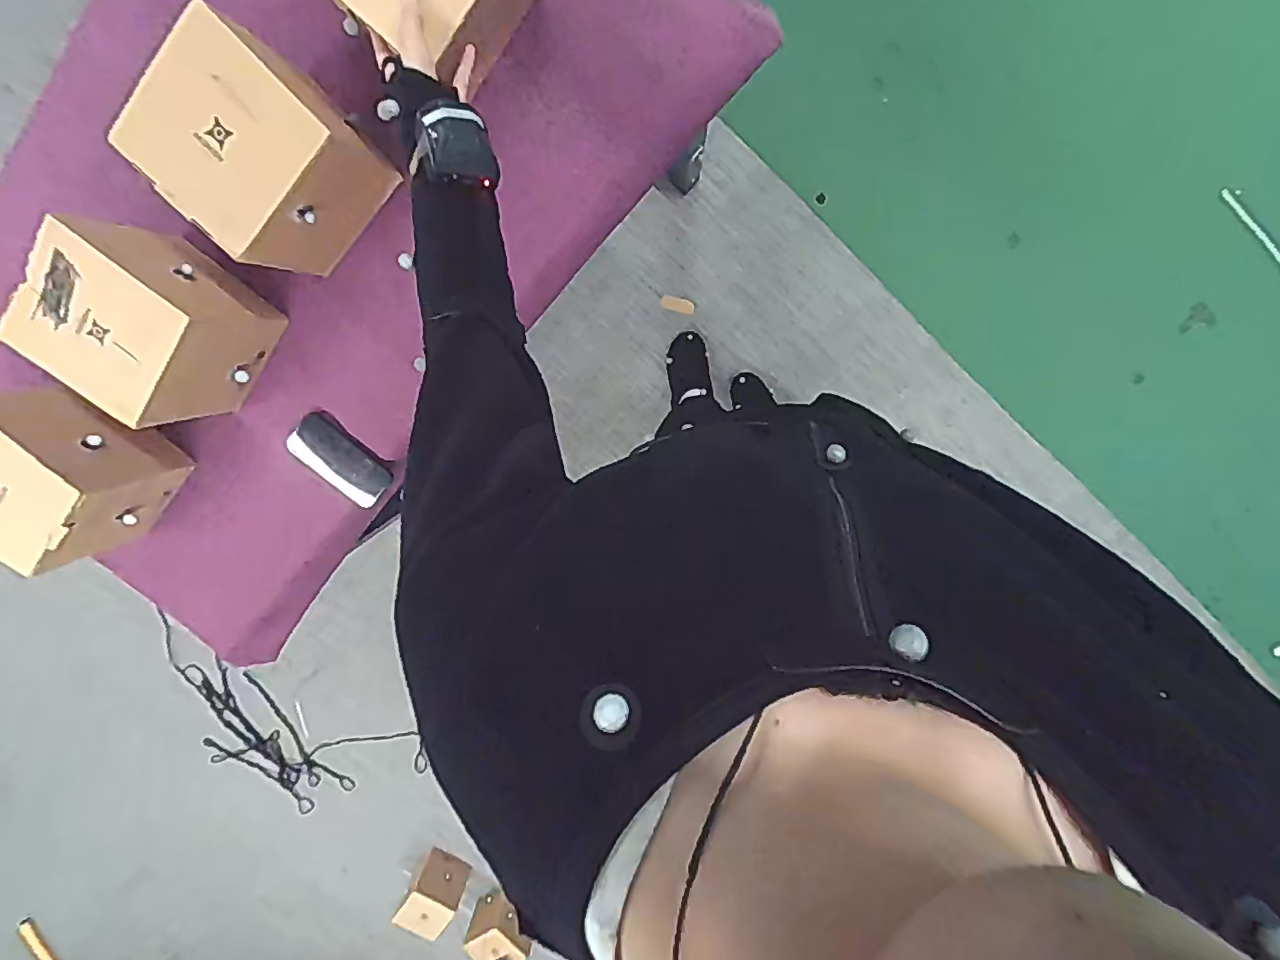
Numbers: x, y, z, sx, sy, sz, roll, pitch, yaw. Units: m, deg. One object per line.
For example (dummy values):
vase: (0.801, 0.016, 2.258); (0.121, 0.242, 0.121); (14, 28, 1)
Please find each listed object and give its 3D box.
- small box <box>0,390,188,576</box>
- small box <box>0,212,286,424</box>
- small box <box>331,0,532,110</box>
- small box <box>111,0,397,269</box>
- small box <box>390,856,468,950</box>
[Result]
small box: (-0.790, -0.009, 0.742); (0.179, 0.176, 0.168); (44, 103, -9)
small box: (-0.606, -0.195, 0.681); (0.179, 0.176, 0.168); (39, 104, -8)
small box: (-0.223, -0.530, 0.552); (0.168, 0.176, 0.179); (36, 103, -16)
small box: (-0.422, -0.369, 0.624); (0.179, 0.176, 0.168); (-42, 100, 12)
small box: (-0.725, 1.467, 1.885); (0.168, 0.176, 0.179); (34, 105, -6)
